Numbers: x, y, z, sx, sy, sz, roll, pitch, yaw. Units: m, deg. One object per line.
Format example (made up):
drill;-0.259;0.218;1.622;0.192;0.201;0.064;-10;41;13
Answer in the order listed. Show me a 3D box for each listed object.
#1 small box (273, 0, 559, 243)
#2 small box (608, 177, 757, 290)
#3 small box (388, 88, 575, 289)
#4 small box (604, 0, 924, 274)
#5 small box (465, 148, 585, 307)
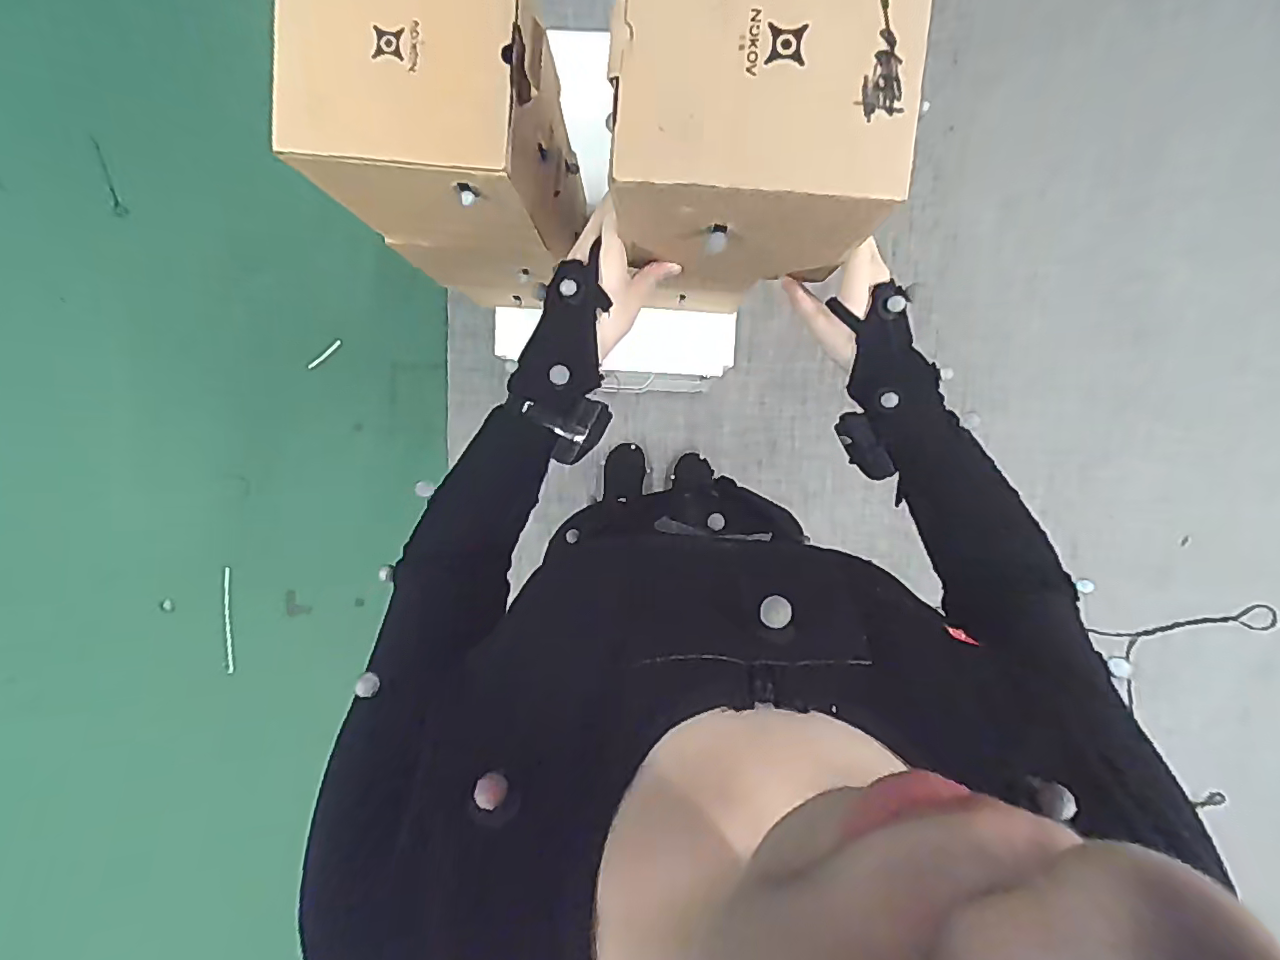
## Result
small box;-0.174;-0.321;0.468;0.179;0.176;0.168;4;95;-1
small box;0.064;-0.328;0.626;0.179;0.176;0.168;5;95;1
small box;-0.171;-0.329;0.631;0.179;0.176;0.168;2;94;0
small box;0.077;-0.258;0.389;0.179;0.176;0.168;5;95;3
small box;-0.170;-0.360;0.791;0.168;0.176;0.179;3;95;-2
